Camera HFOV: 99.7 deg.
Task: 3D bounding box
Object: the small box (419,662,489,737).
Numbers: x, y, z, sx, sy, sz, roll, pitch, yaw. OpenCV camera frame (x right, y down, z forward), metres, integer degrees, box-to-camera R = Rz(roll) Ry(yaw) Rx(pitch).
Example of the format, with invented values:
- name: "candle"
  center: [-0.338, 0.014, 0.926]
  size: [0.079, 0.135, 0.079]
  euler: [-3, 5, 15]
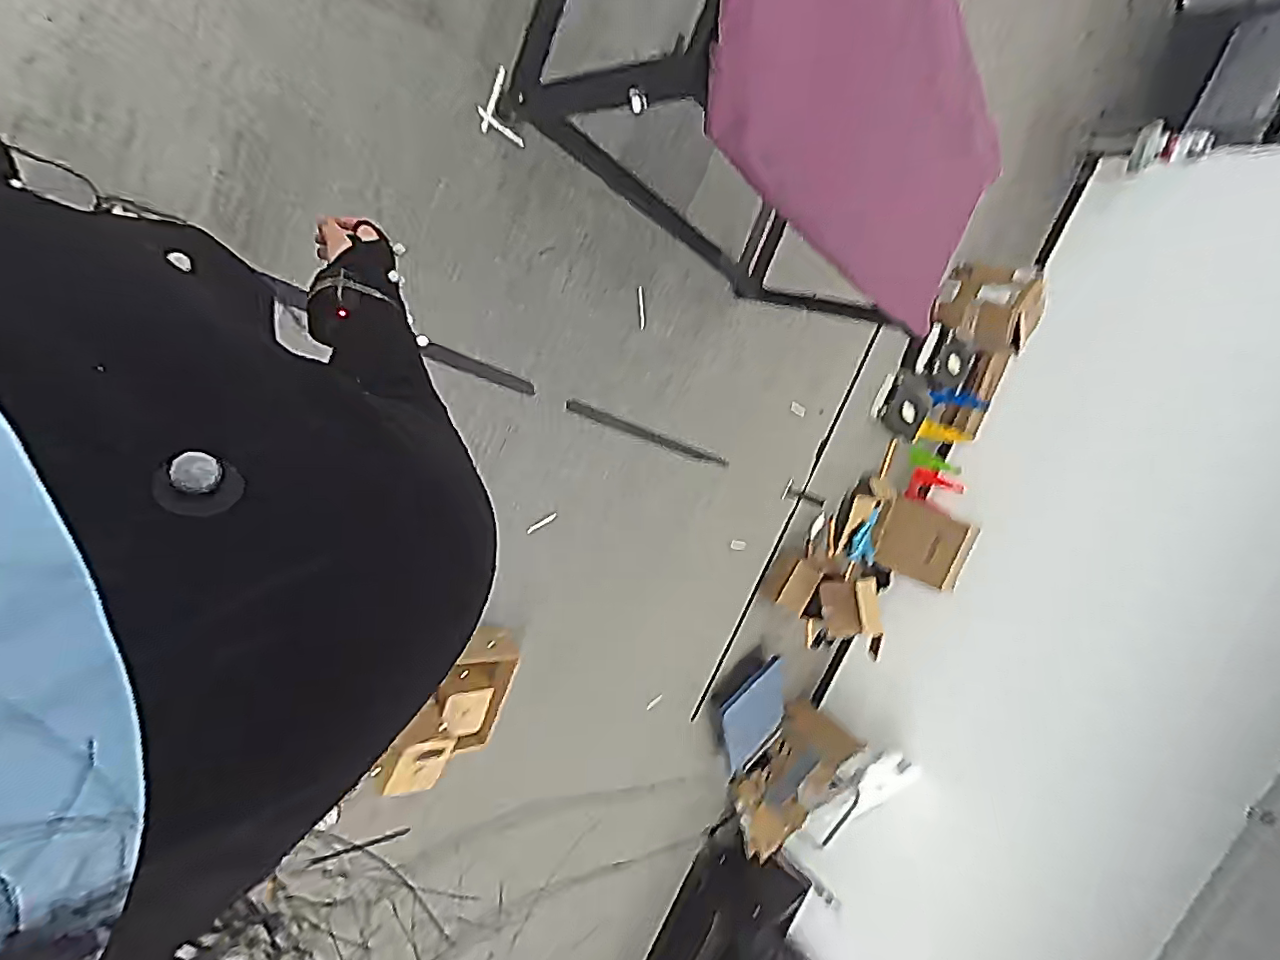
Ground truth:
- name: "small box"
  center: [-0.655, 0.748, 1.873]
  size: [0.168, 0.176, 0.179]
  euler: [11, 104, -45]
